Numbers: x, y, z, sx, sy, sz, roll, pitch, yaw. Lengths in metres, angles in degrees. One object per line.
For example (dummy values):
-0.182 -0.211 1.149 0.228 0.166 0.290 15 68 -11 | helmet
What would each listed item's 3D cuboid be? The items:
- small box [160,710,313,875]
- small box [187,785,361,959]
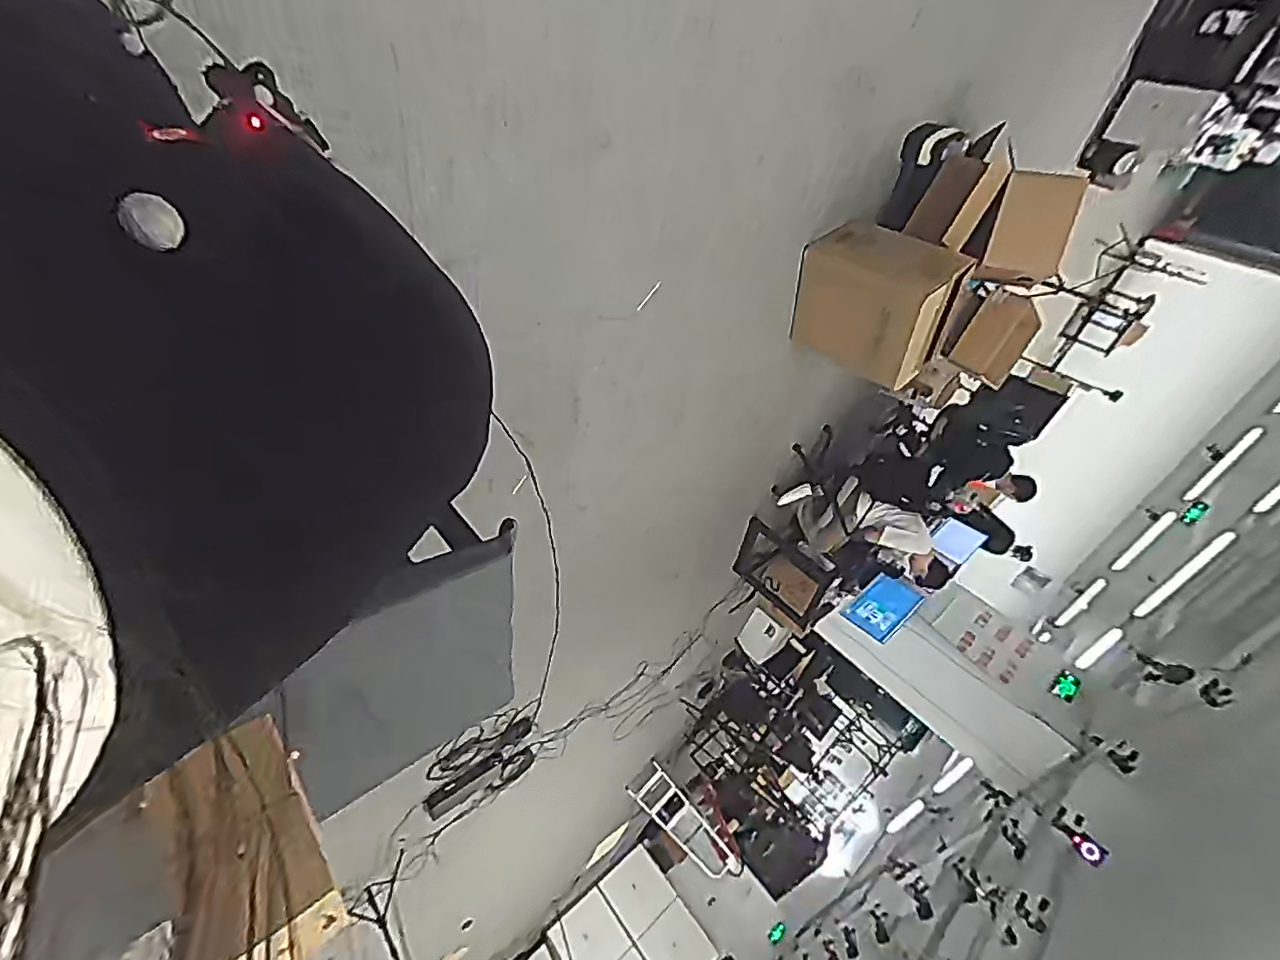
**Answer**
-0.664 0.531 0.907 0.179 0.176 0.168 -25 140 -33 | small box
-0.554 0.616 0.821 0.179 0.176 0.168 -22 139 -37 | small box
